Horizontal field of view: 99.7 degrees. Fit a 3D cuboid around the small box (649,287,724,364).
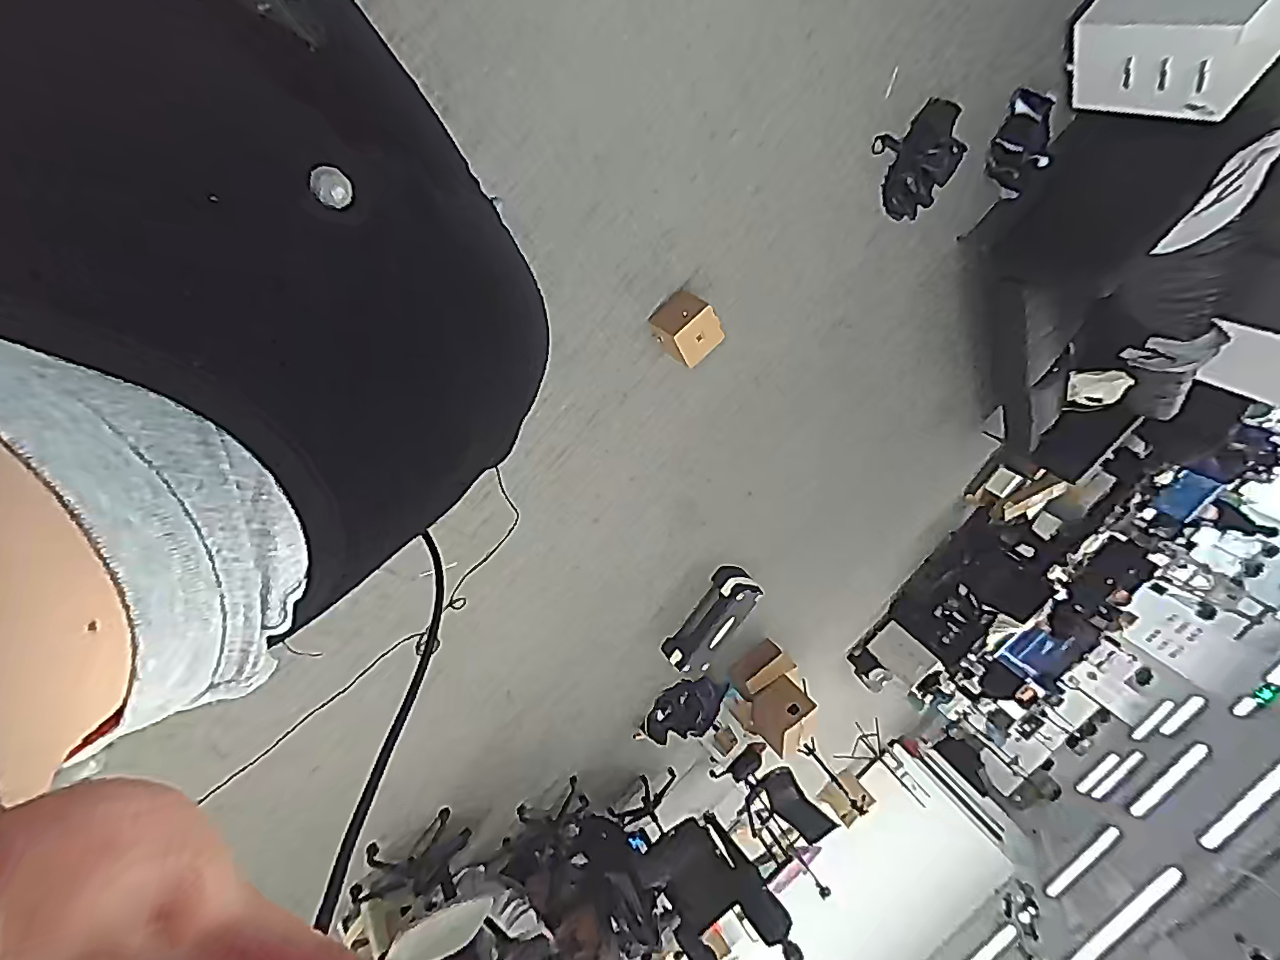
[{"bbox_3d":[0.162,-0.553,1.921,0.179,0.176,0.168,-42,138,-1],"label":"small box"}]
